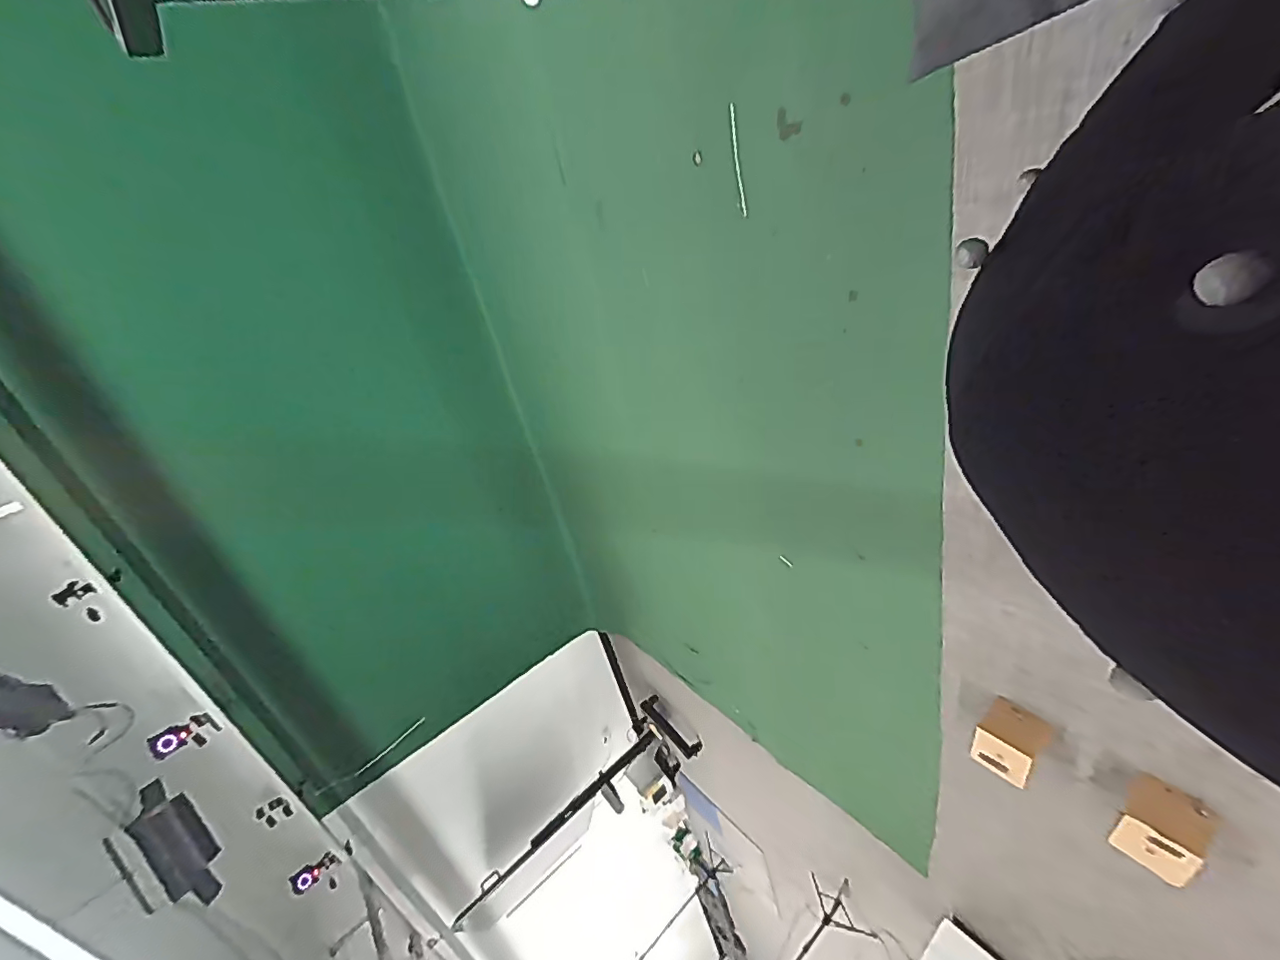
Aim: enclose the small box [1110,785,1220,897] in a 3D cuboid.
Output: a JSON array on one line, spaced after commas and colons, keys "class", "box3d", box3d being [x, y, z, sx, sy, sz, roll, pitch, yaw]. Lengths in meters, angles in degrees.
[{"class": "small box", "box3d": [1.488, 1.013, 1.531, 0.168, 0.176, 0.179, 29, 140, 45]}]
